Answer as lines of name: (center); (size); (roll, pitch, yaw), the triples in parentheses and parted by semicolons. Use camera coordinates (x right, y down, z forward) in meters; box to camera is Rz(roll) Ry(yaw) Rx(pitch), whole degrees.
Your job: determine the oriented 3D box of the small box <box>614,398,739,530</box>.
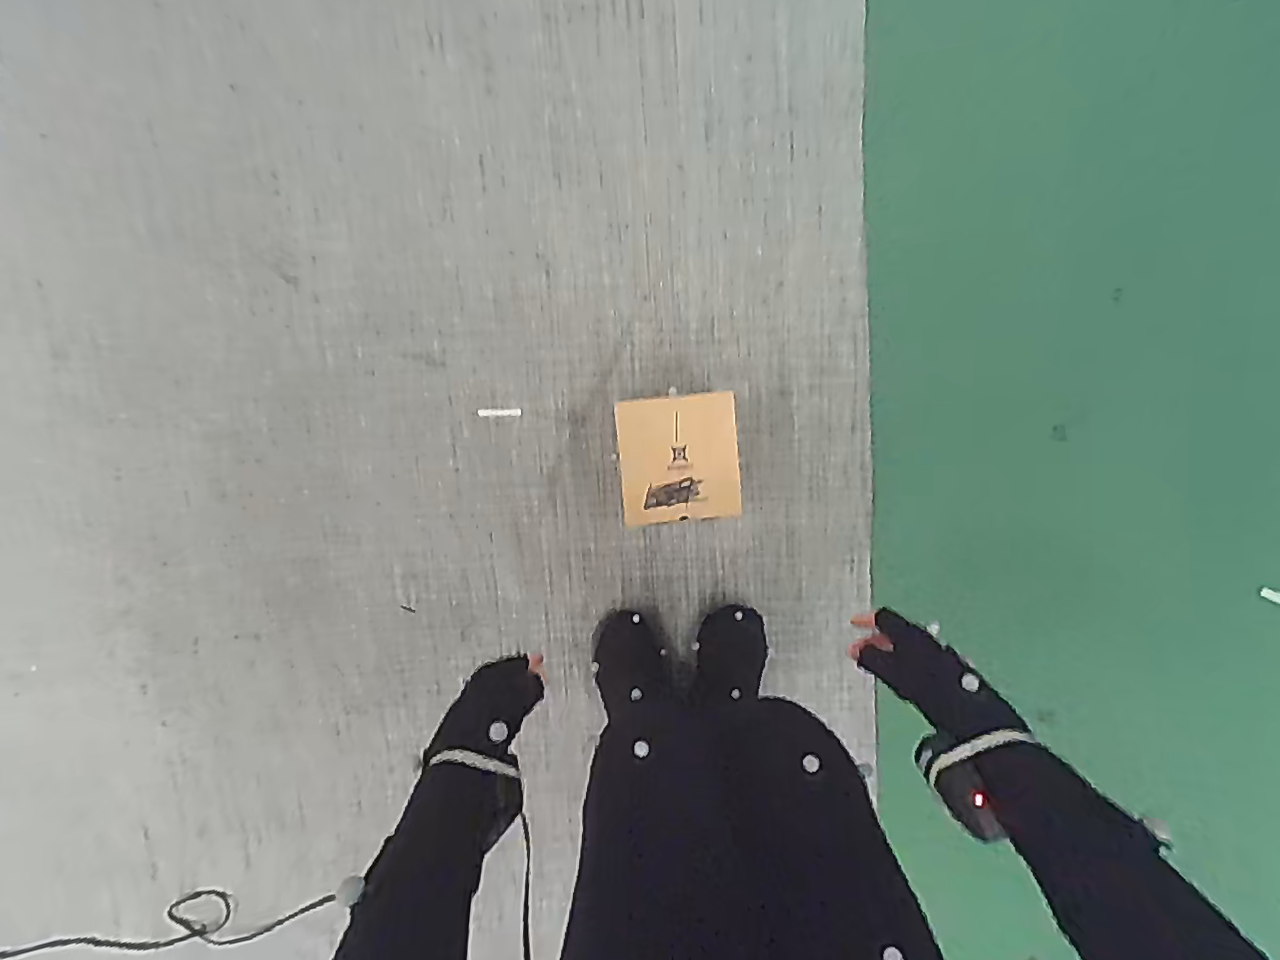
small box: (0.054, -0.031, 0.828); (0.168, 0.176, 0.179); (-5, 96, 2)
